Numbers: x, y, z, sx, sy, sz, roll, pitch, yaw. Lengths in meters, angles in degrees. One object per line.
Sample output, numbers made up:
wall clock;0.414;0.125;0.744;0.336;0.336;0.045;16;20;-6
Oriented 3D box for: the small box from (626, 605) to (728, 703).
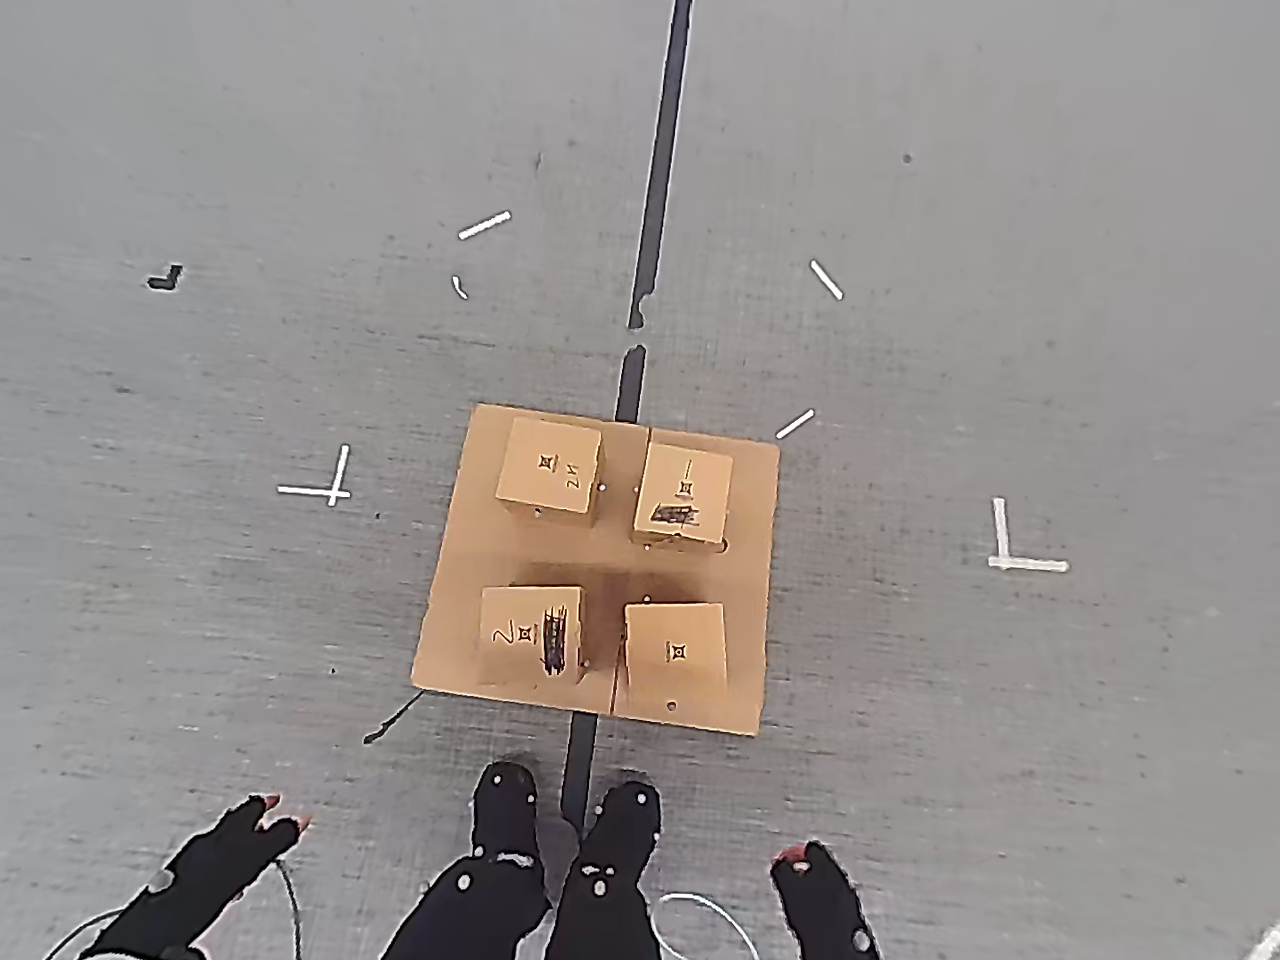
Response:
small box;0.063;0.322;1.025;0.179;0.176;0.168;-1;75;-1
